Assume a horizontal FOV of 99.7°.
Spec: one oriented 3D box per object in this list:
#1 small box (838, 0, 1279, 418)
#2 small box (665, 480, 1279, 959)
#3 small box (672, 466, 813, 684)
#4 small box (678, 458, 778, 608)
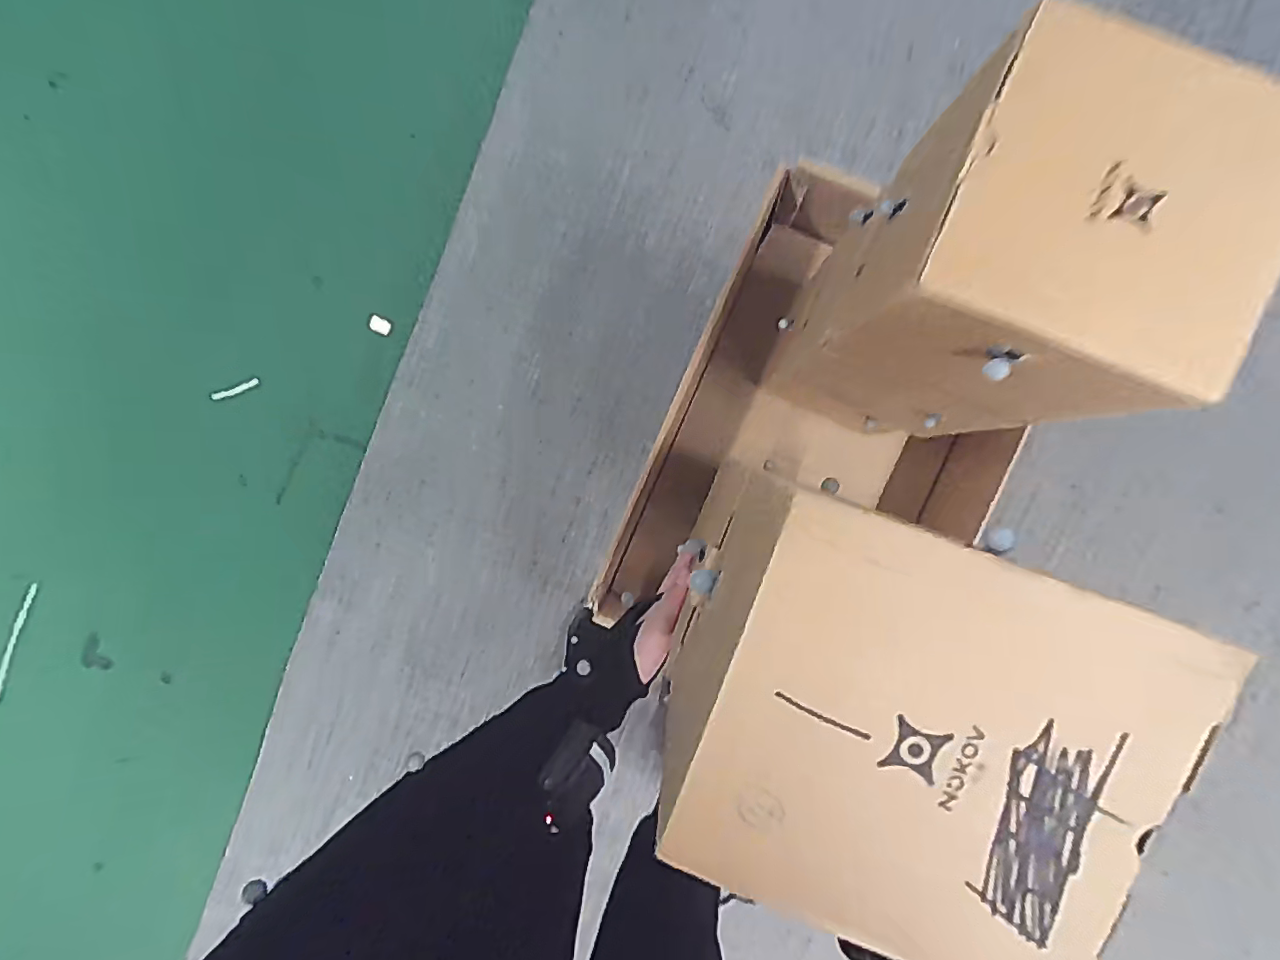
[{"bbox_3d":[0.267,-0.147,0.364,0.179,0.176,0.168,23,93,2],"label":"small box"},{"bbox_3d":[0.126,0.105,0.283,0.179,0.176,0.168,20,96,5],"label":"small box"},{"bbox_3d":[0.139,0.093,0.447,0.179,0.176,0.168,22,97,4],"label":"small box"},{"bbox_3d":[0.154,0.082,0.610,0.179,0.176,0.168,23,96,3],"label":"small box"}]
